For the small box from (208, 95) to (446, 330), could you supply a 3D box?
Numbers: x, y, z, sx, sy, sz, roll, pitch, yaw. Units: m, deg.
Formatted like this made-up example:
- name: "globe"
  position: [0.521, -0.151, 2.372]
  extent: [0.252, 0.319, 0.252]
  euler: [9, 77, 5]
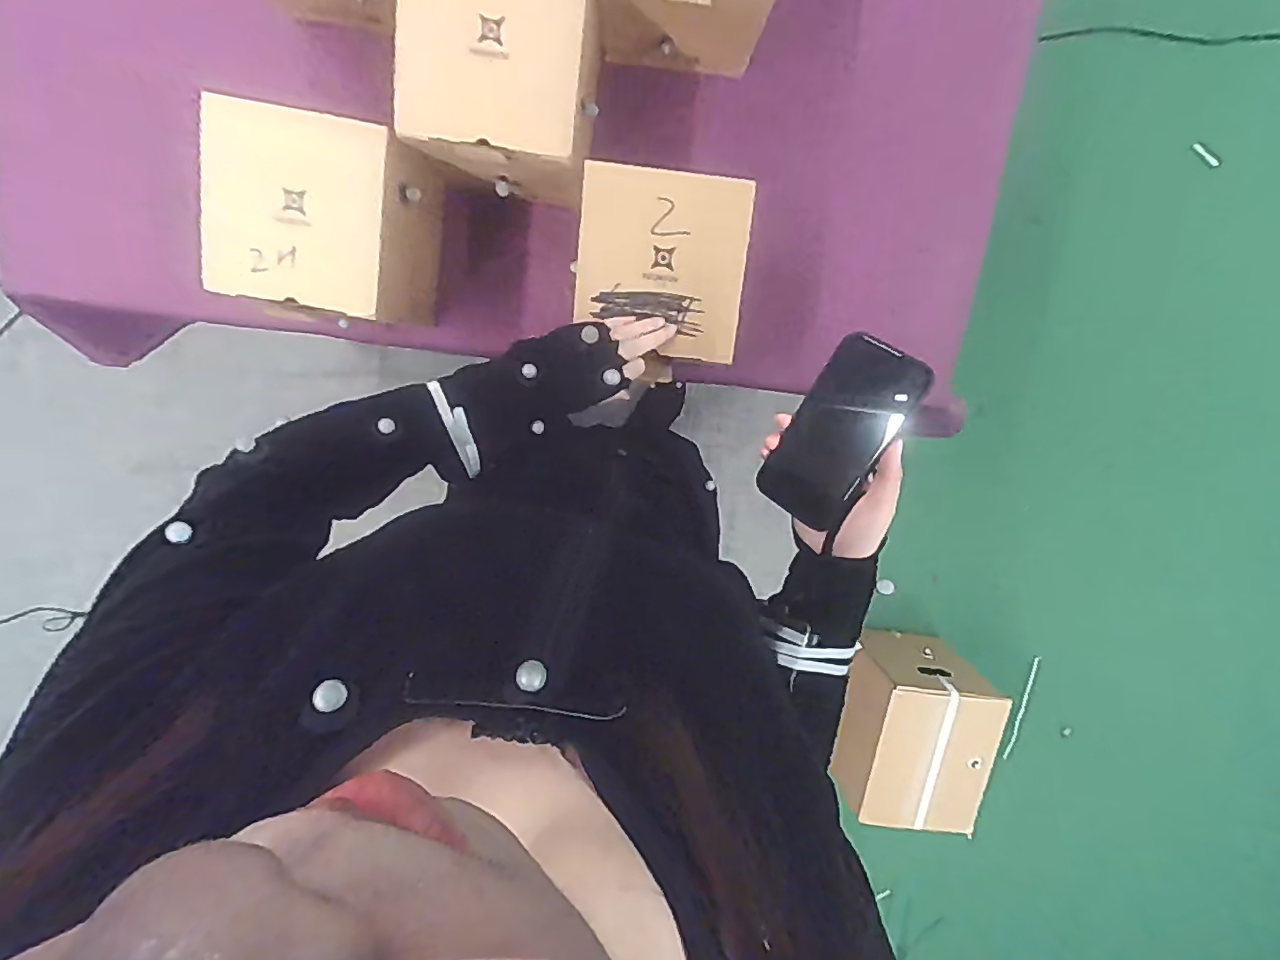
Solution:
- name: "small box"
  position: [-0.323, -0.269, 0.588]
  extent: [0.168, 0.176, 0.179]
  euler: [10, 102, -3]

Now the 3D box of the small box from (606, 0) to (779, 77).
- name: "small box"
  position: [0.053, -0.546, 0.535]
  extent: [0.168, 0.176, 0.179]
  euler: [5, 104, -2]
